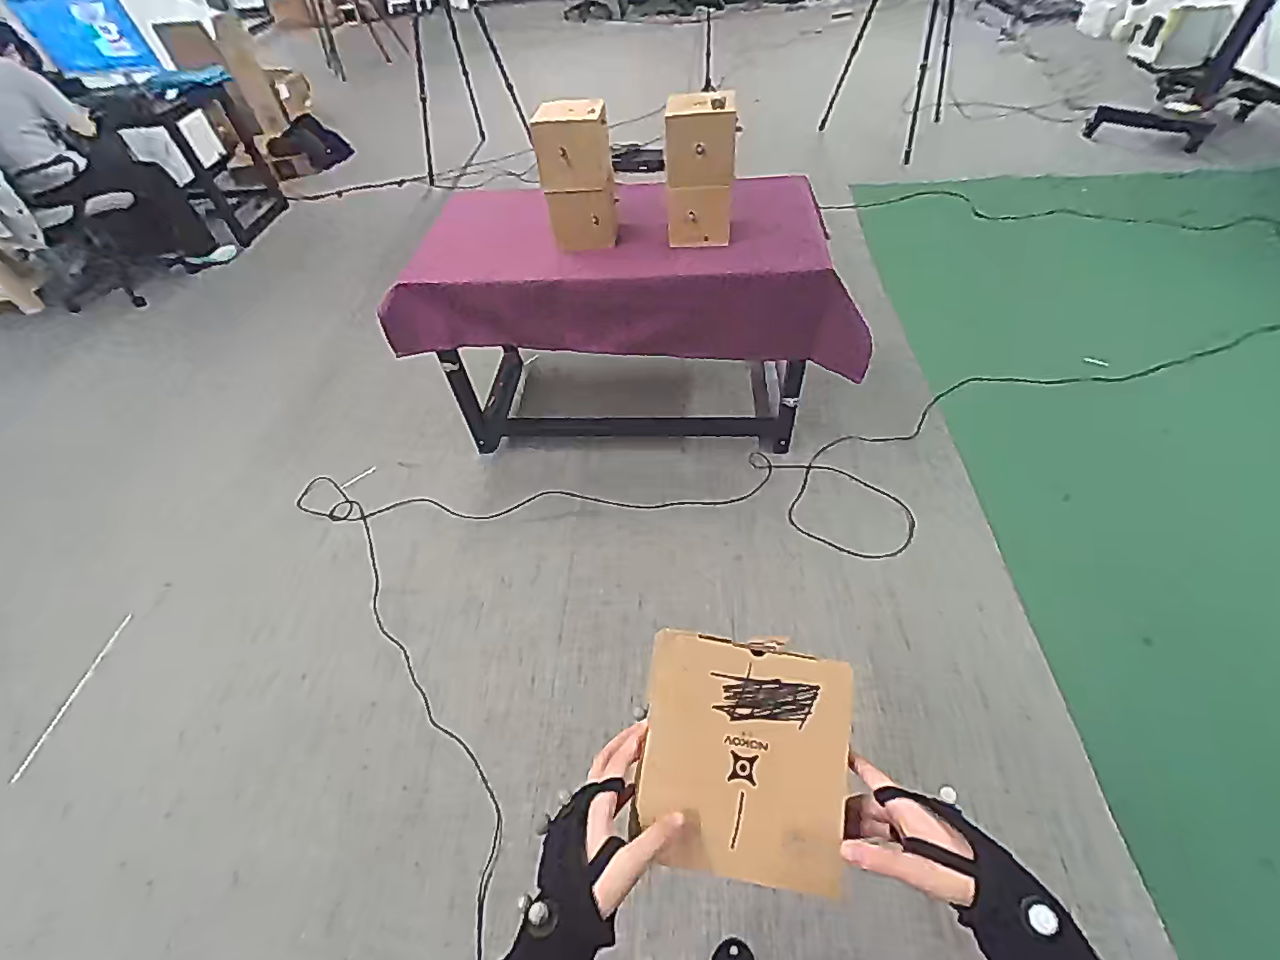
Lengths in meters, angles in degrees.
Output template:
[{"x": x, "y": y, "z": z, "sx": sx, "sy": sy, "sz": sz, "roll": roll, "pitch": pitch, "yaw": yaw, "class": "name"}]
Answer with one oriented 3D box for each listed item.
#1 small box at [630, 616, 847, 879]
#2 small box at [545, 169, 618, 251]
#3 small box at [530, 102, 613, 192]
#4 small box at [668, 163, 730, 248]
[{"x": 0.083, "y": 0.238, "z": 0.522, "sx": 0.168, "sy": 0.176, "sz": 0.179, "roll": 10, "pitch": 73, "yaw": 2, "class": "small box"}, {"x": -0.162, "y": -0.787, "z": 1.580, "sx": 0.179, "sy": 0.176, "sz": 0.168, "roll": 1, "pitch": 49, "yaw": 6, "class": "small box"}, {"x": -0.178, "y": -0.891, "z": 1.454, "sx": 0.179, "sy": 0.176, "sz": 0.168, "roll": 1, "pitch": 50, "yaw": 6, "class": "small box"}, {"x": 0.171, "y": -0.780, "z": 1.543, "sx": 0.168, "sy": 0.176, "sz": 0.179, "roll": 2, "pitch": 49, "yaw": 7, "class": "small box"}]
